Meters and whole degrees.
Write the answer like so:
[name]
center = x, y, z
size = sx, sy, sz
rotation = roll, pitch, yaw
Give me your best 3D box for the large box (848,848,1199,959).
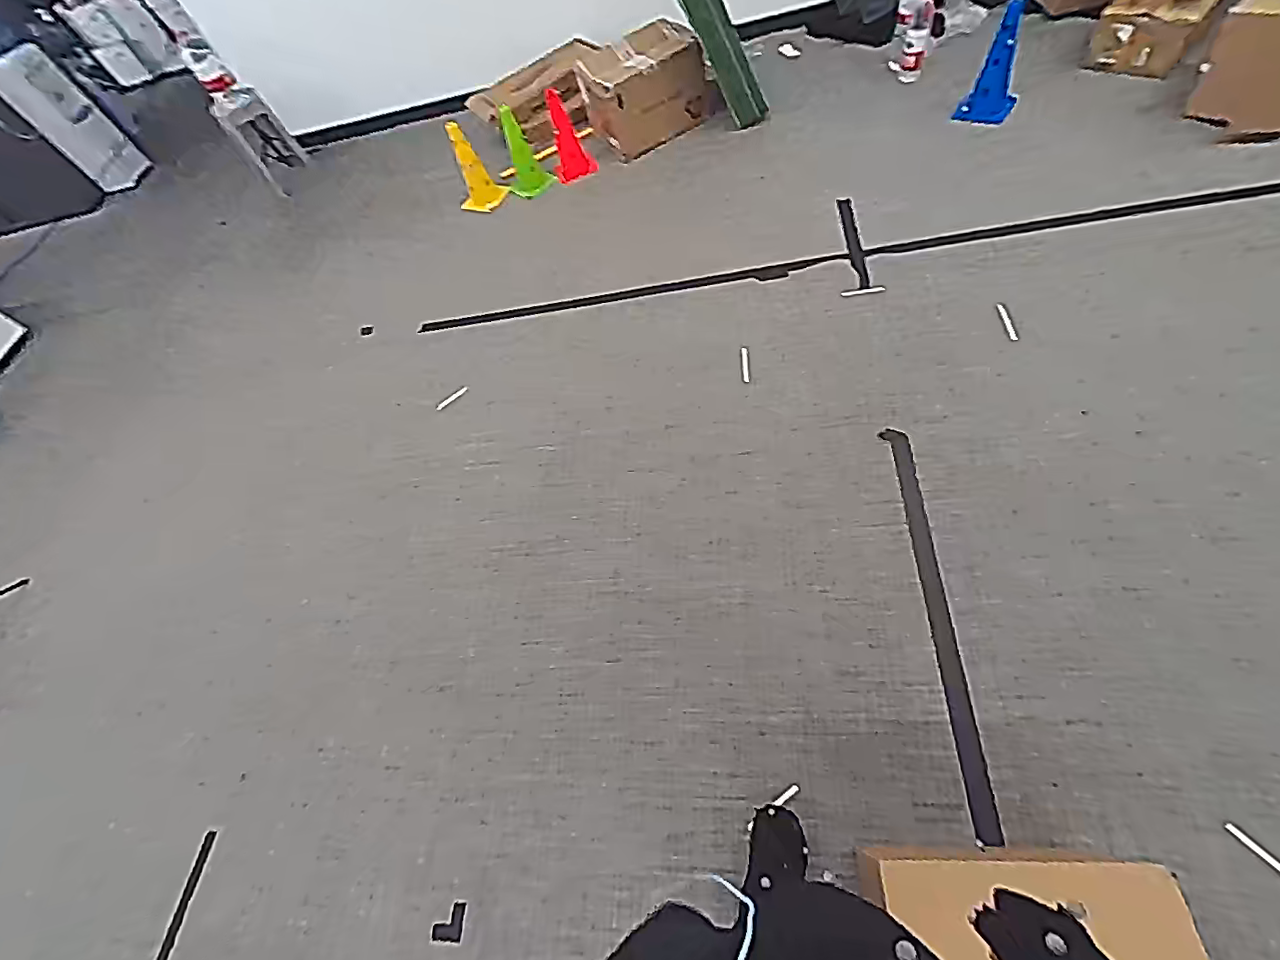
[large box]
center = 0.588, 0.783, 0.866
size = 0.408, 0.320, 0.320
rotation = -6, 59, 10
